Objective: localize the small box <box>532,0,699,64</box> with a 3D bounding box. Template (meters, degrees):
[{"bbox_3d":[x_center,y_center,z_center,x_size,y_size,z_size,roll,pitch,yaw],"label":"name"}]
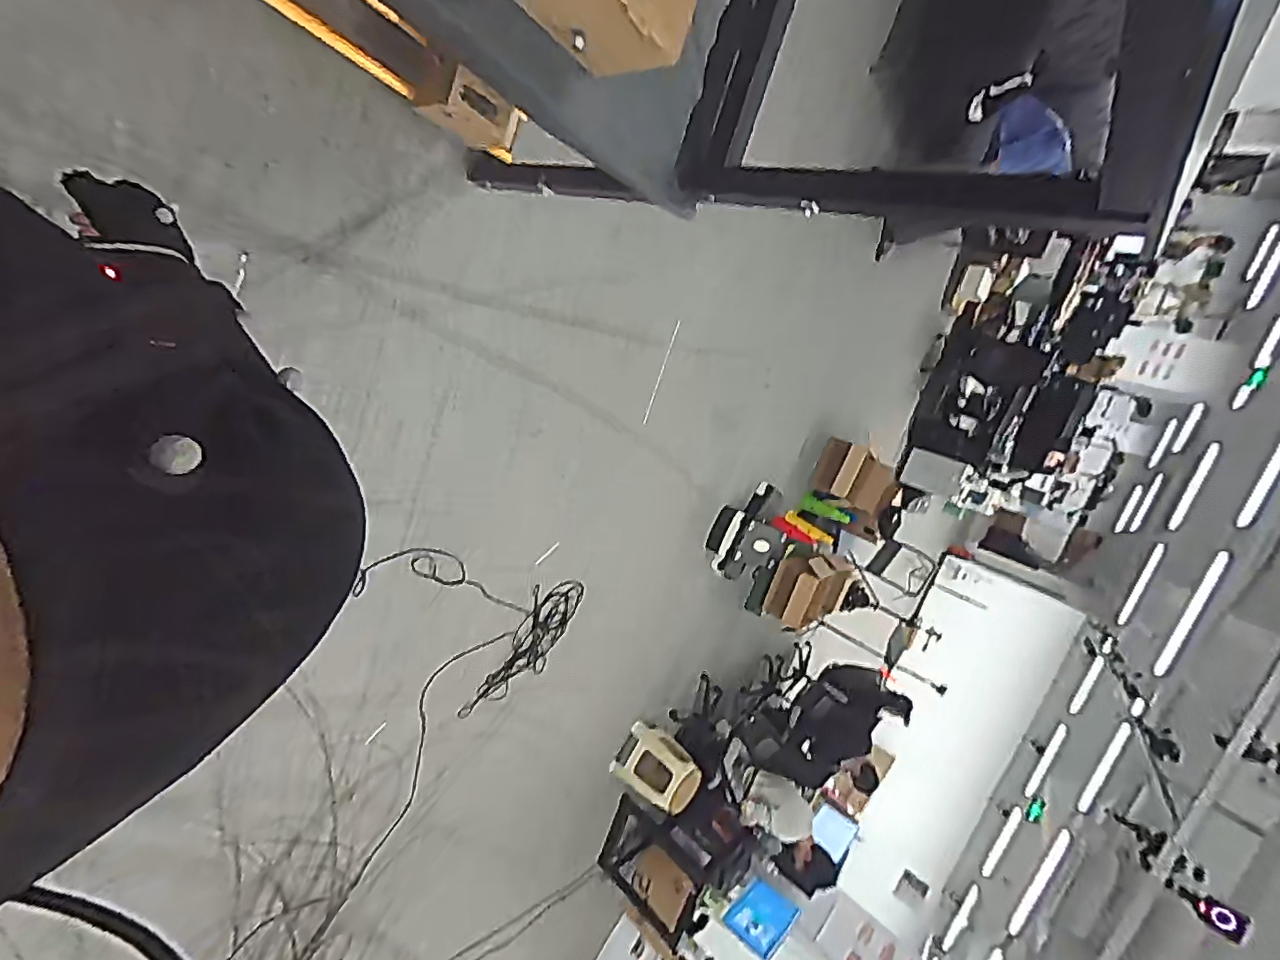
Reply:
[{"bbox_3d":[-0.026,-0.688,0.701,0.168,0.176,0.179,6,106,-51],"label":"small box"}]
